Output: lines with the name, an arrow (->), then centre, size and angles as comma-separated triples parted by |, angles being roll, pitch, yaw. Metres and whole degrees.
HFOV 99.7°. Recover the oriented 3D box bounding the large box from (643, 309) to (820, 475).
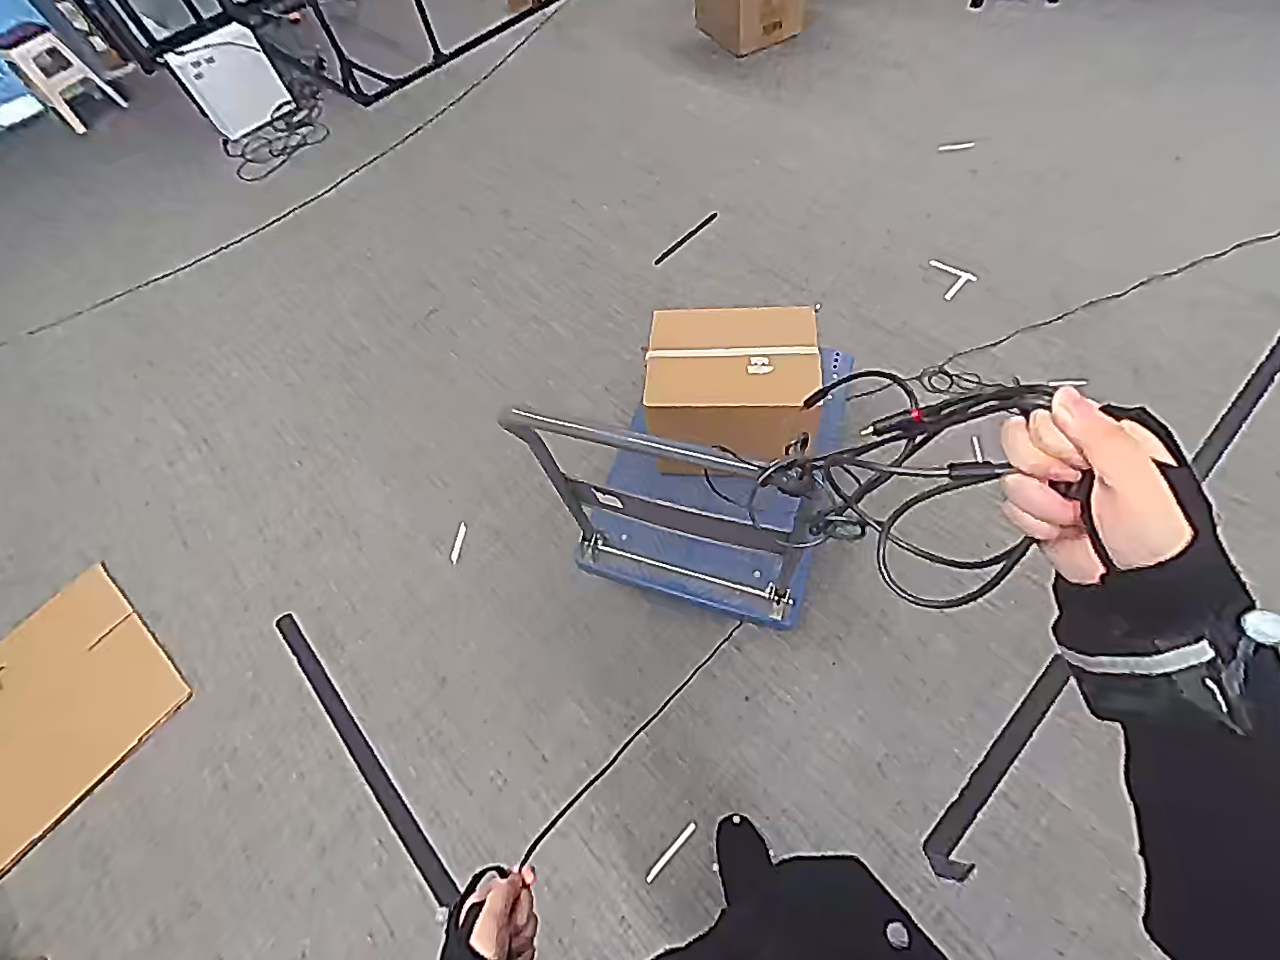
large box -> 0.229, -0.218, 1.414 | 0.408, 0.320, 0.320 | 1, 60, 9
